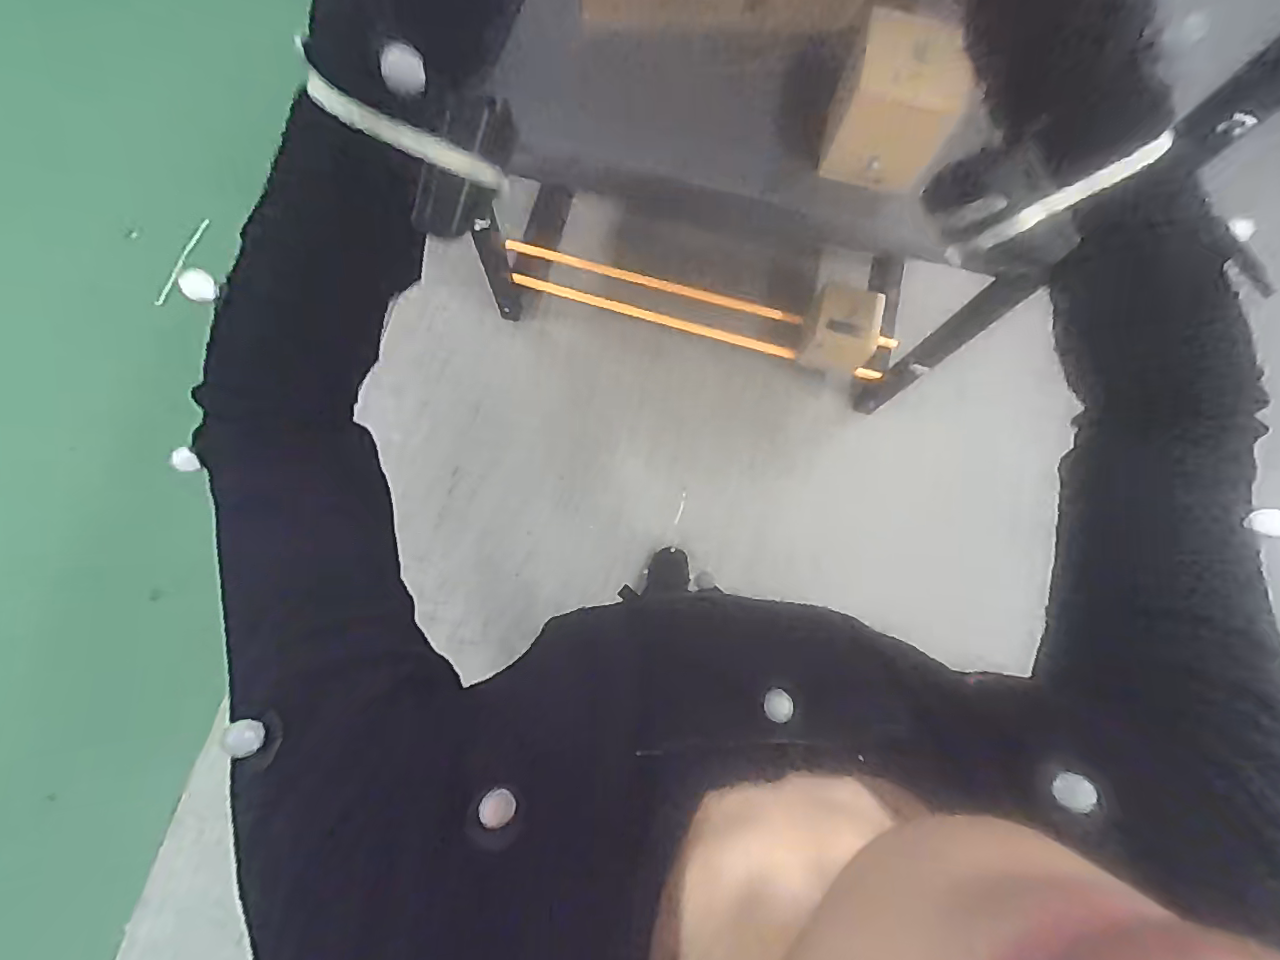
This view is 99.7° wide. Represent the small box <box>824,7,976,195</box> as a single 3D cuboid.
[{"bbox_3d":[0.423,-0.620,0.901,0.168,0.176,0.179,14,74,1],"label":"small box"}]
